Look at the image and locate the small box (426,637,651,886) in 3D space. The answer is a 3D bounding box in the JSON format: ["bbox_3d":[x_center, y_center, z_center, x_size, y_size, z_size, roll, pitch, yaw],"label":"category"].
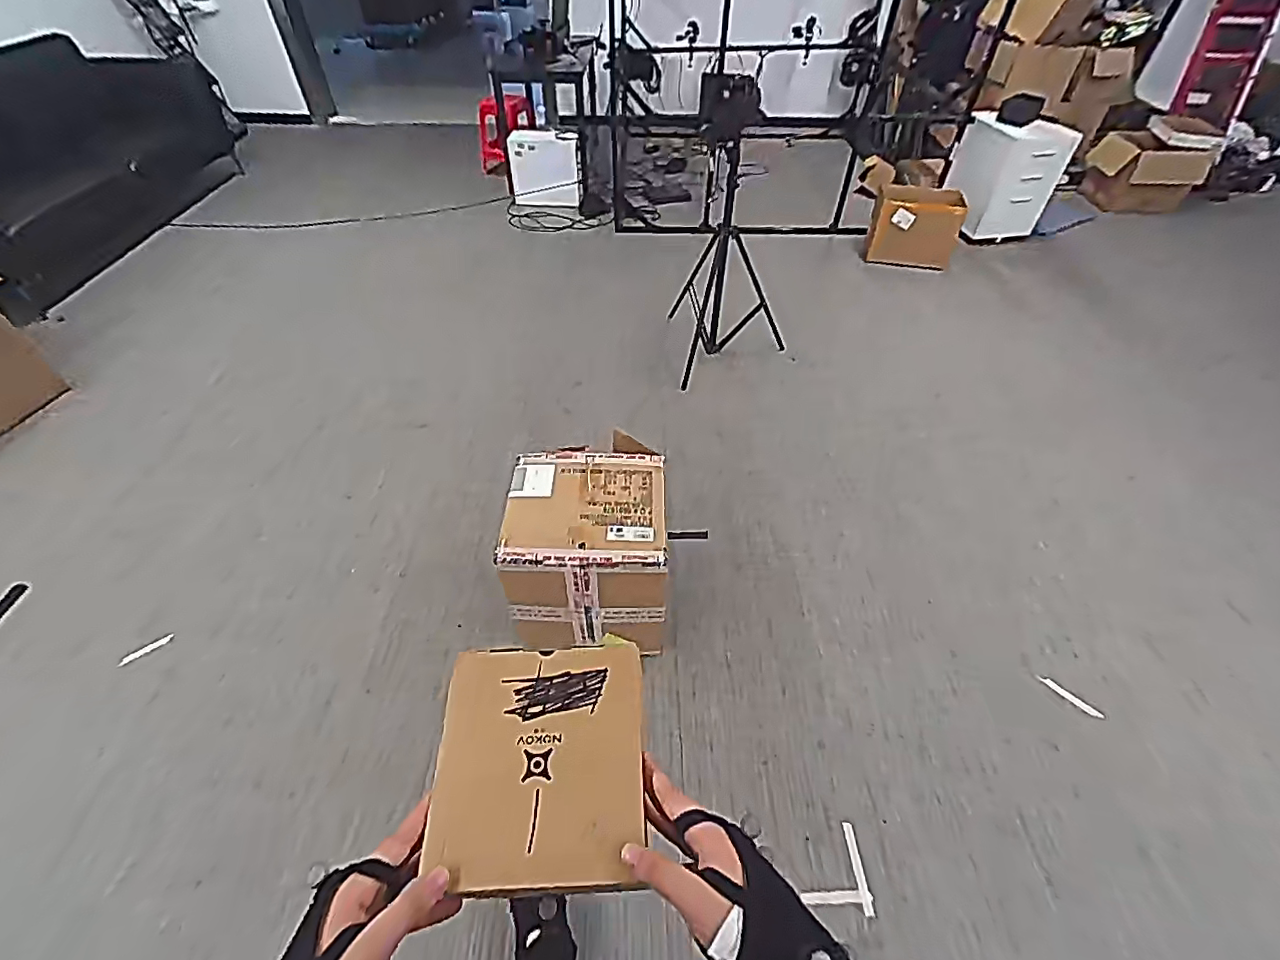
[{"bbox_3d":[-0.075,0.264,0.506,0.168,0.176,0.179,-3,52,0],"label":"small box"}]
